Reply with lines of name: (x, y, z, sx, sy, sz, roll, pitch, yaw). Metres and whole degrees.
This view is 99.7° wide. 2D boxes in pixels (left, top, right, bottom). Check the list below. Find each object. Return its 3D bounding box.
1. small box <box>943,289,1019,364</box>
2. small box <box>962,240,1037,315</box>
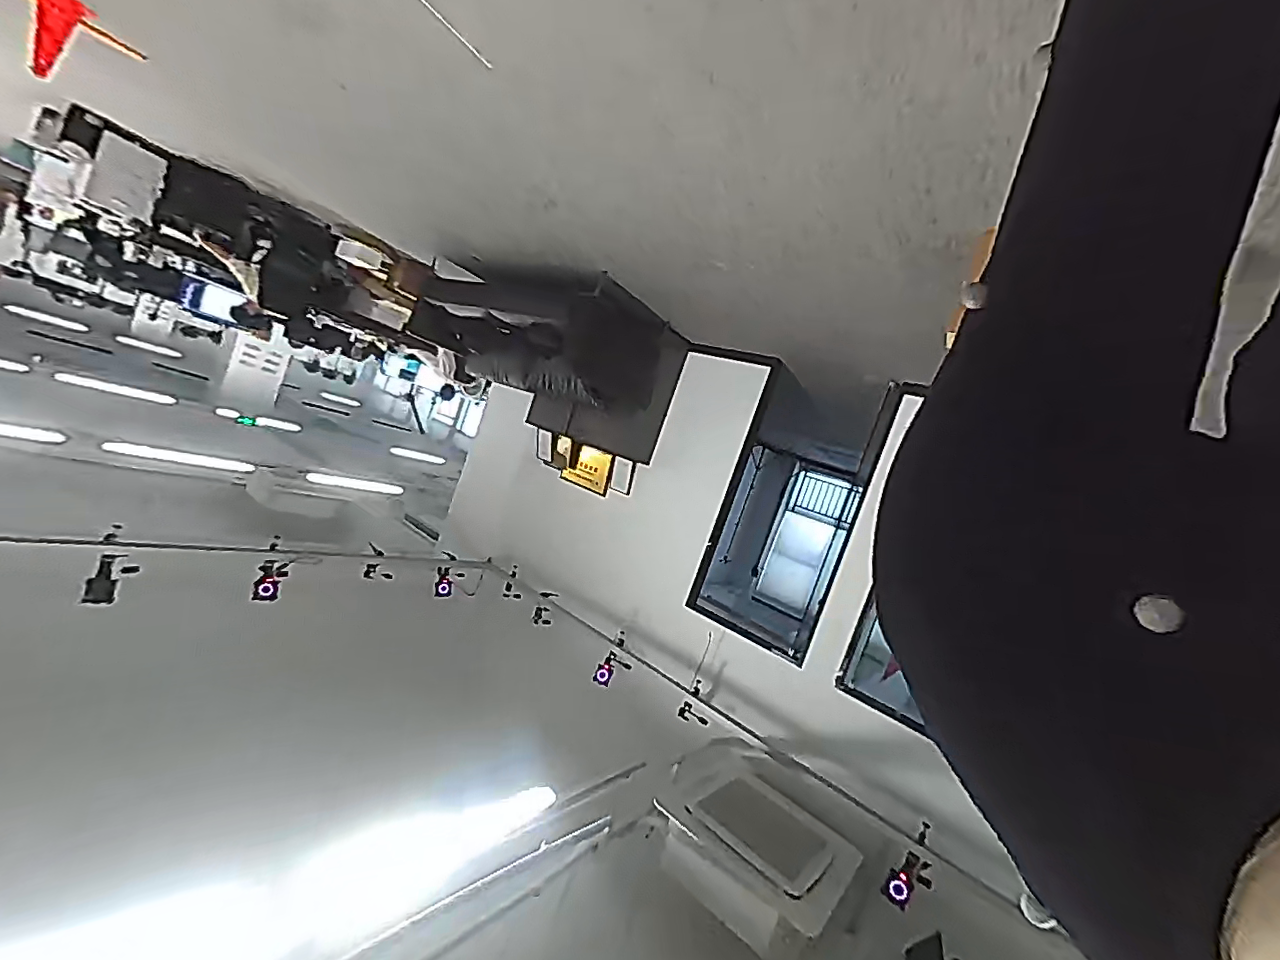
small box: (1.116, -0.503, 1.777, 0.168, 0.176, 0.179, 20, -178, 28)
small box: (1.168, -0.660, 1.762, 0.168, 0.176, 0.179, 22, -178, 32)
